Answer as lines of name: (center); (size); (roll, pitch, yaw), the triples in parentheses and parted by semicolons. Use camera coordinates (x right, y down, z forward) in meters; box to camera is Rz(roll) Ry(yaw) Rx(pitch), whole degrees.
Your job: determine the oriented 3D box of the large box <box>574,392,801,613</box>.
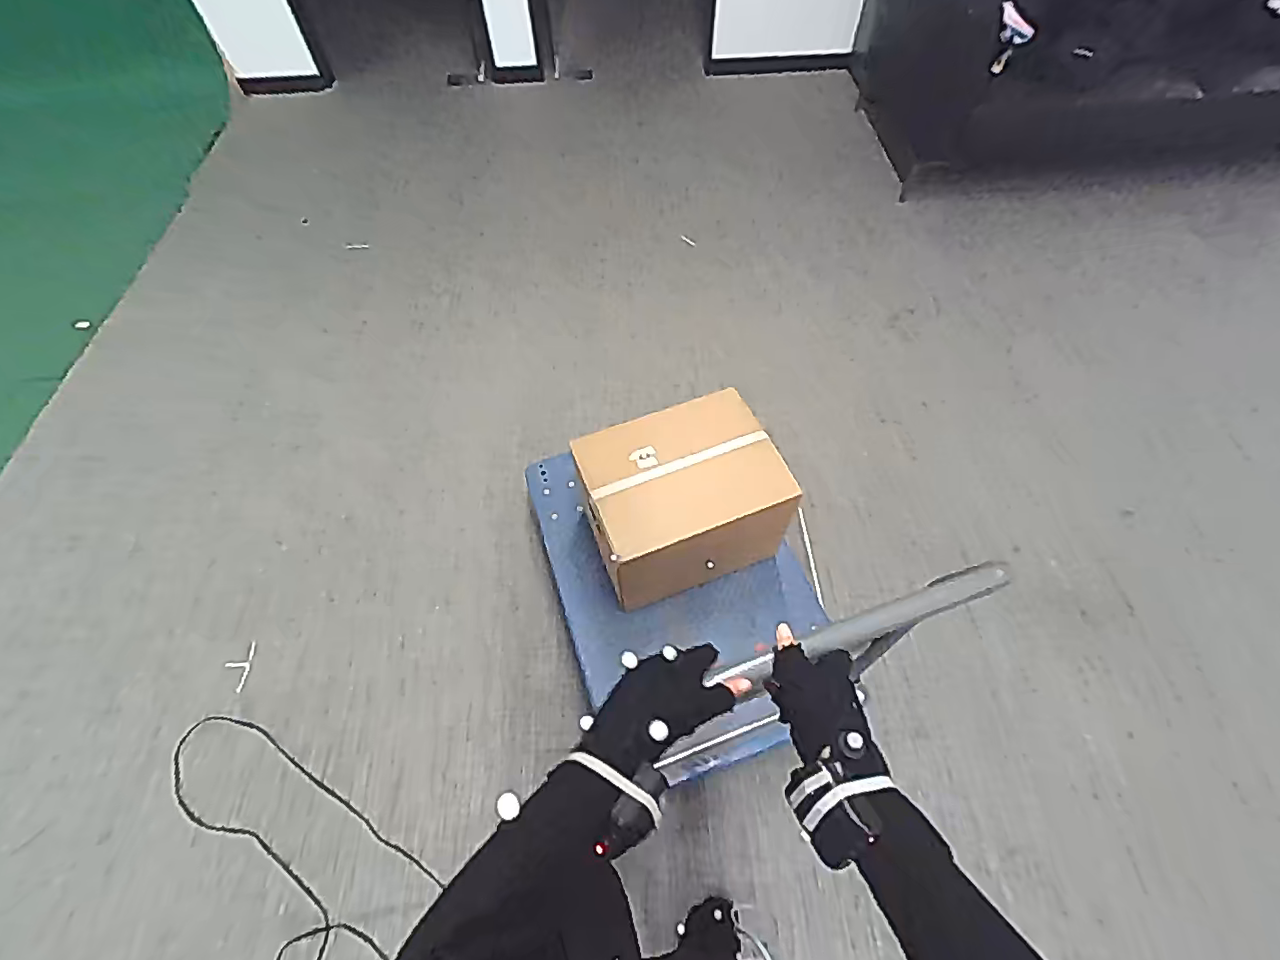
large box: (0.100, 0.059, 1.270); (0.408, 0.320, 0.320); (-21, 59, -10)
